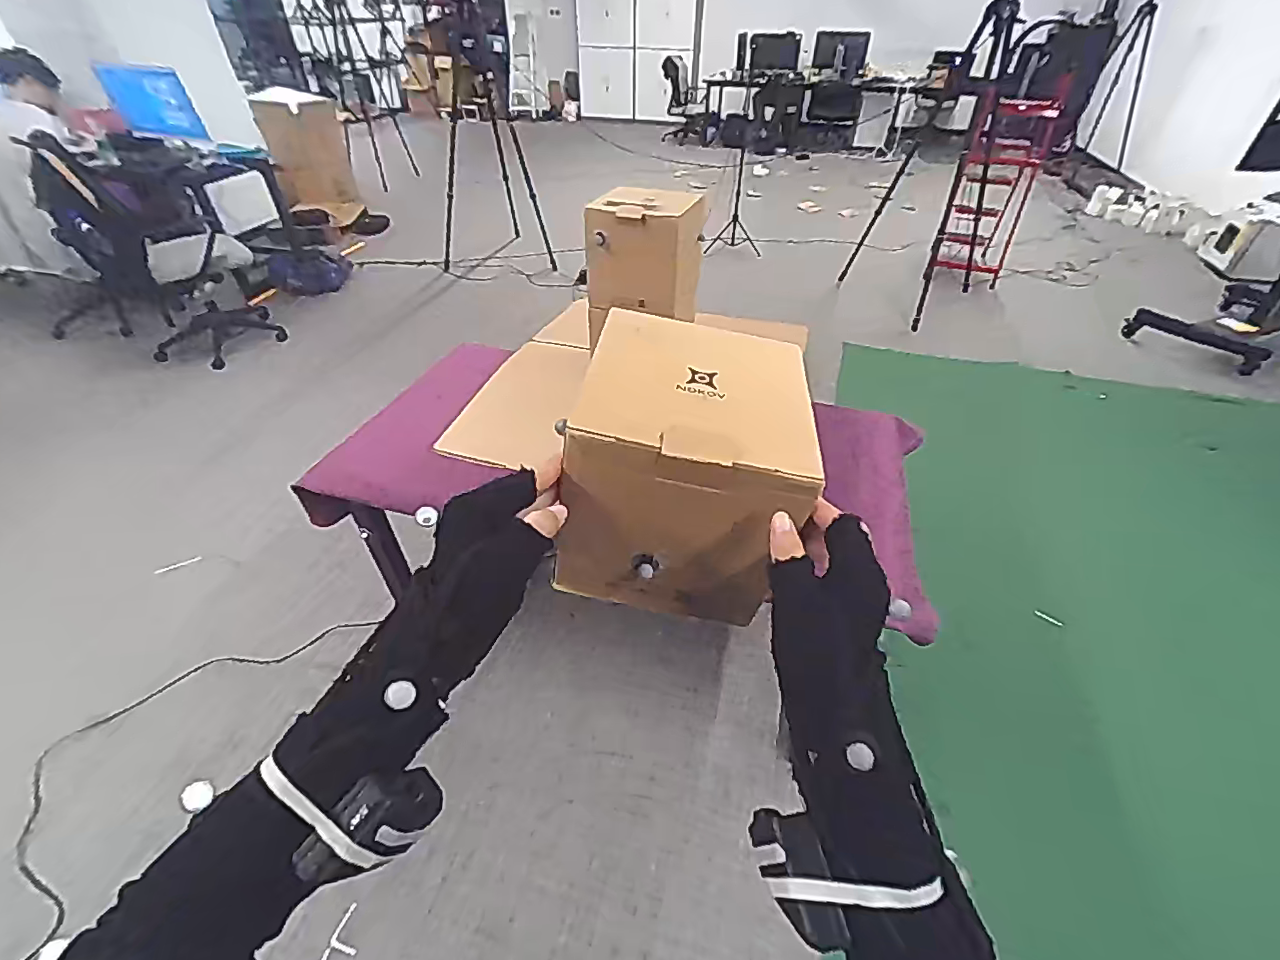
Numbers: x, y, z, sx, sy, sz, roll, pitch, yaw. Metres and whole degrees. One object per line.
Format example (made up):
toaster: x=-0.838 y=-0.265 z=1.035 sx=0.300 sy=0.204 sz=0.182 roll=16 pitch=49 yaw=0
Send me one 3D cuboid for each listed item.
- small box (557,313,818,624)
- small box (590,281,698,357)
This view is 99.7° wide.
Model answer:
small box: x=0.030 y=-0.010 z=0.453 sx=0.168 sy=0.176 sz=0.179 roll=11 pitch=43 yaw=-1
small box: x=0.012 y=-0.280 z=1.083 sx=0.168 sy=0.176 sz=0.179 roll=13 pitch=41 yaw=14
